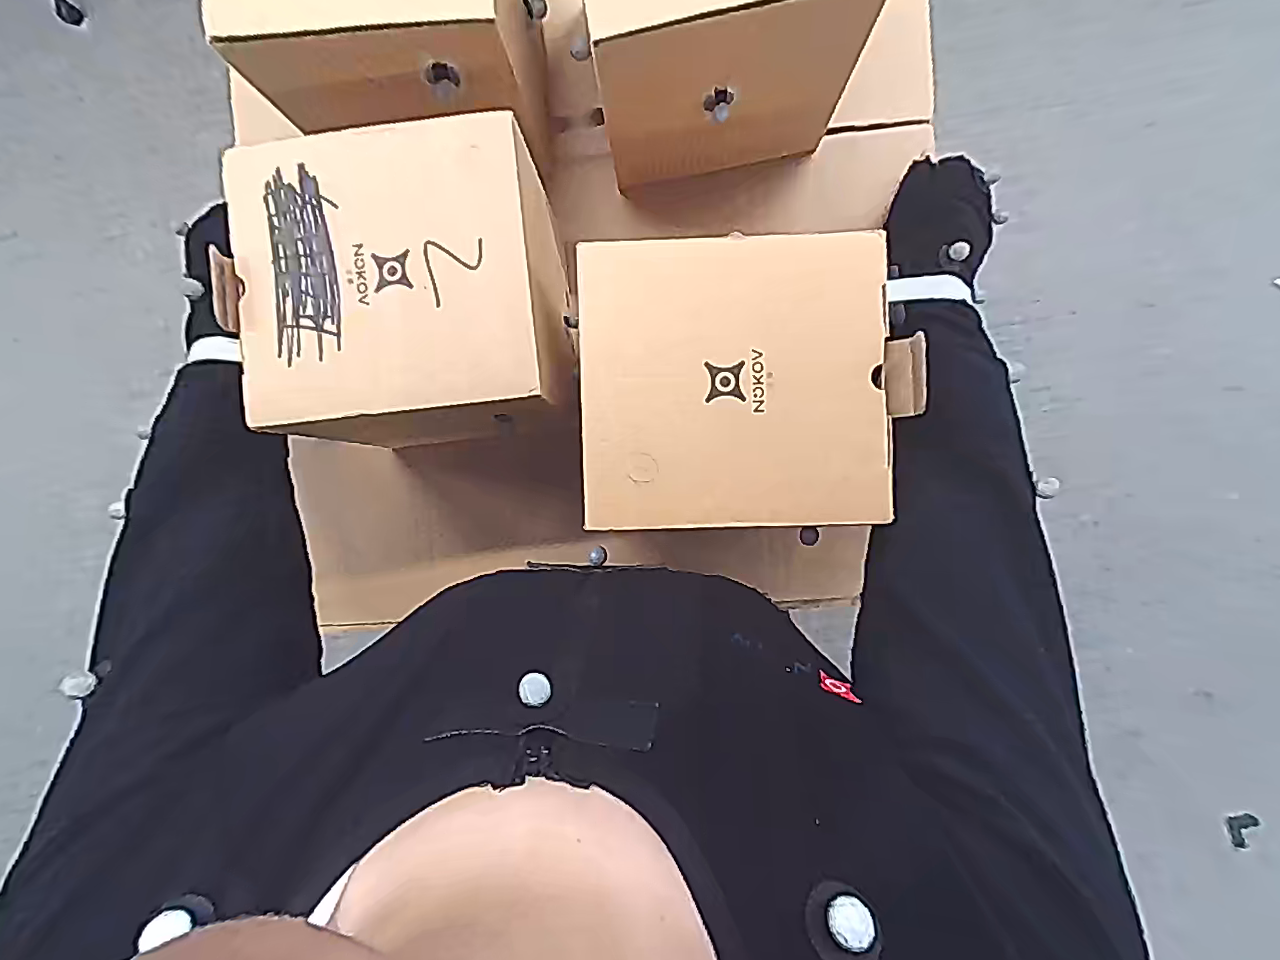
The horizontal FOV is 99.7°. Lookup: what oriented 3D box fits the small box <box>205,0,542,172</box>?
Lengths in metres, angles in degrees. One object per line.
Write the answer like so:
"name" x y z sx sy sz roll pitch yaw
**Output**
"small box" -0.173 -0.355 0.399 0.179 0.176 0.168 -2 91 3
